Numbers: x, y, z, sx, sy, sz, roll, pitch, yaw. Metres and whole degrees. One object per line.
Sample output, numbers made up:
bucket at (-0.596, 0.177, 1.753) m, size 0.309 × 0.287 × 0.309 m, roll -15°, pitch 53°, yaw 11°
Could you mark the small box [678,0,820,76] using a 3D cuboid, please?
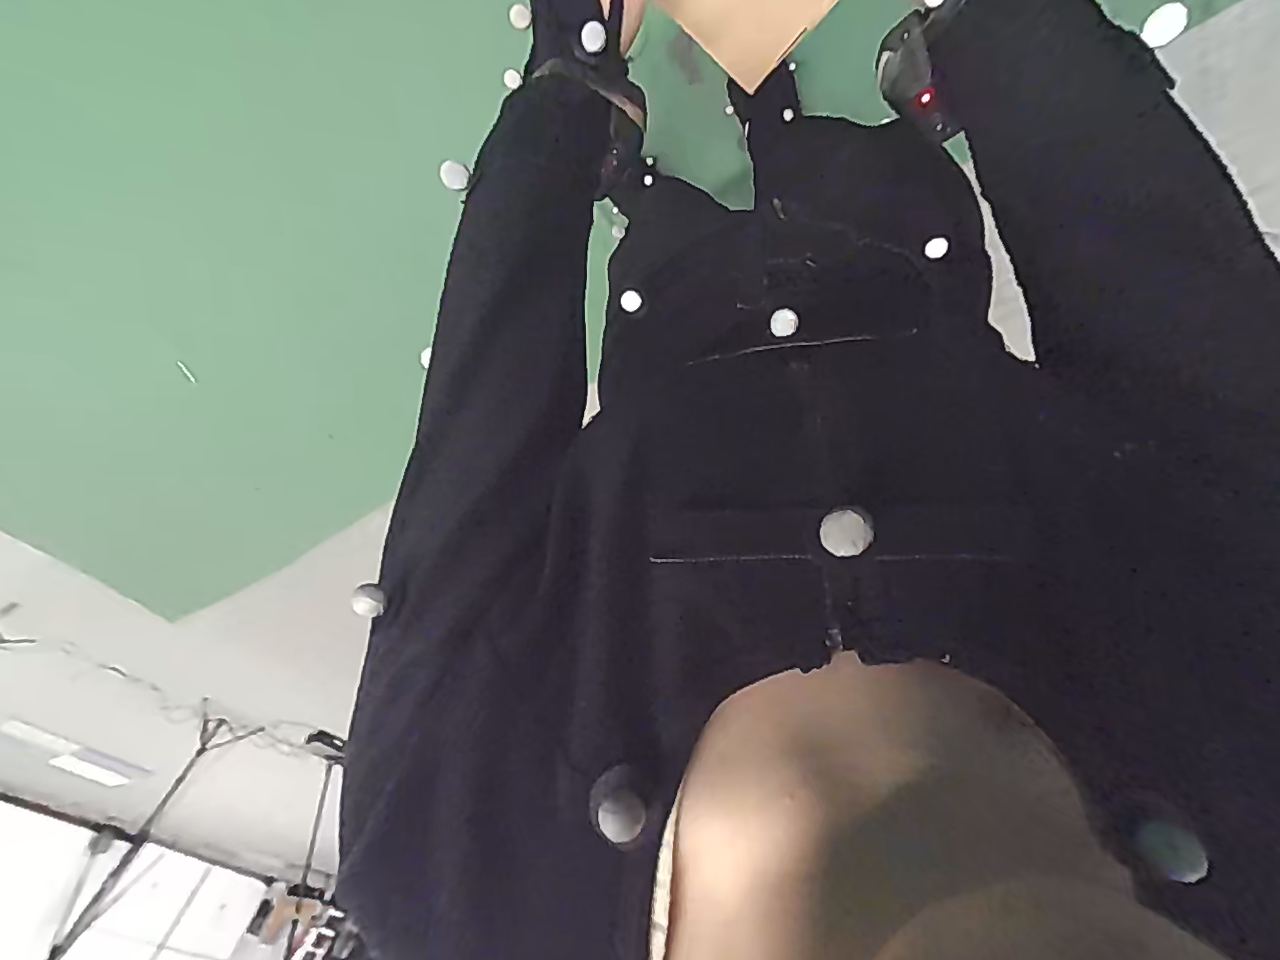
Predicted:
small box at (0.080, -0.471, 0.402) m, size 0.179 × 0.176 × 0.168 m, roll 22°, pitch 143°, yaw -33°
